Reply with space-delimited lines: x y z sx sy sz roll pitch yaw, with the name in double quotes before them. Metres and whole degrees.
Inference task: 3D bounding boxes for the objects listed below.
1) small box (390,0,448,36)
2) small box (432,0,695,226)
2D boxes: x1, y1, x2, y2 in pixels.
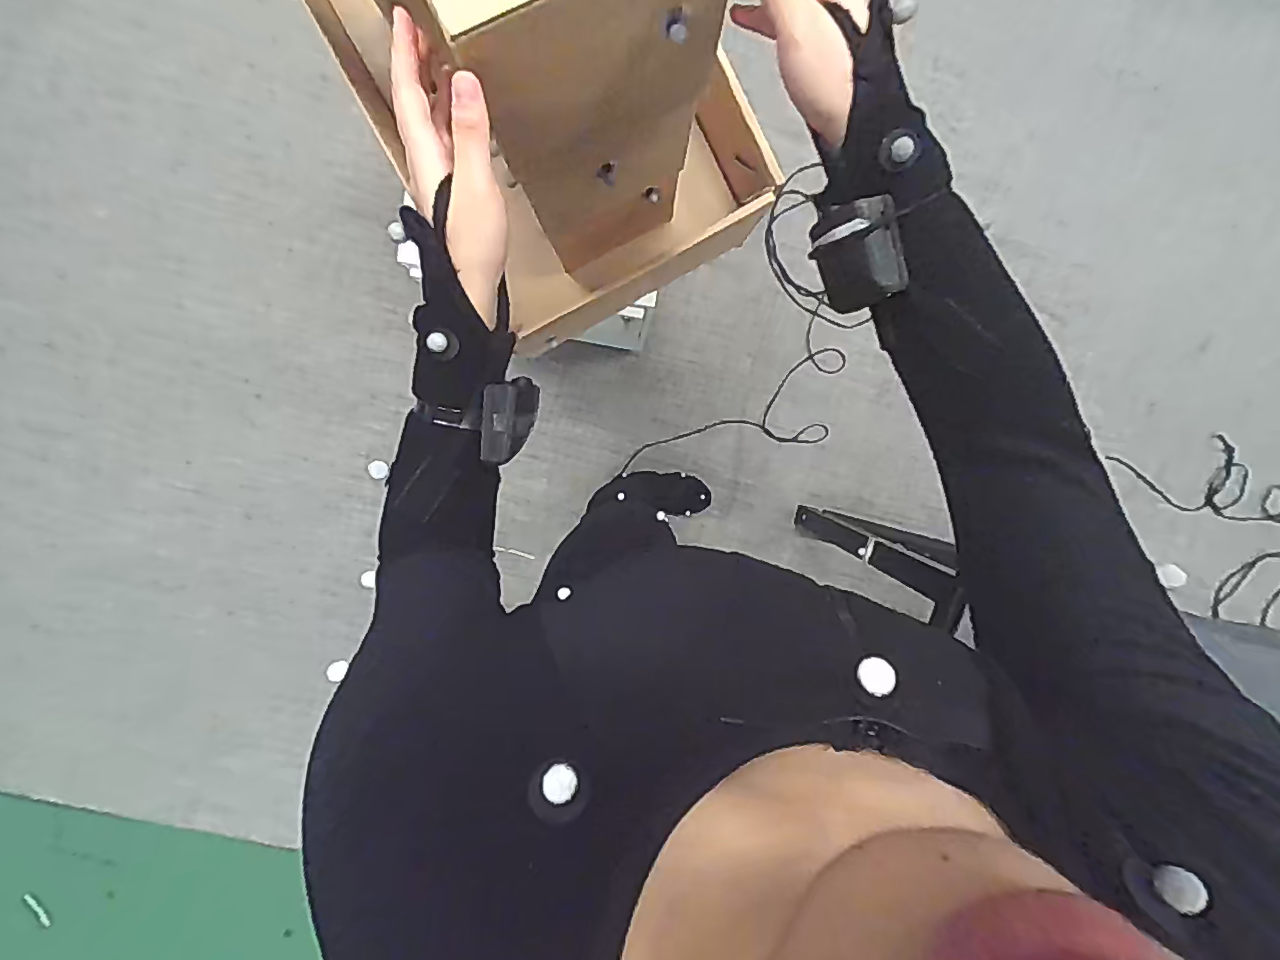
"small box" -0.227 -0.585 0.499 0.168 0.176 0.179 36 97 -5
"small box" -0.066 -0.384 0.524 0.179 0.176 0.168 -27 95 3
